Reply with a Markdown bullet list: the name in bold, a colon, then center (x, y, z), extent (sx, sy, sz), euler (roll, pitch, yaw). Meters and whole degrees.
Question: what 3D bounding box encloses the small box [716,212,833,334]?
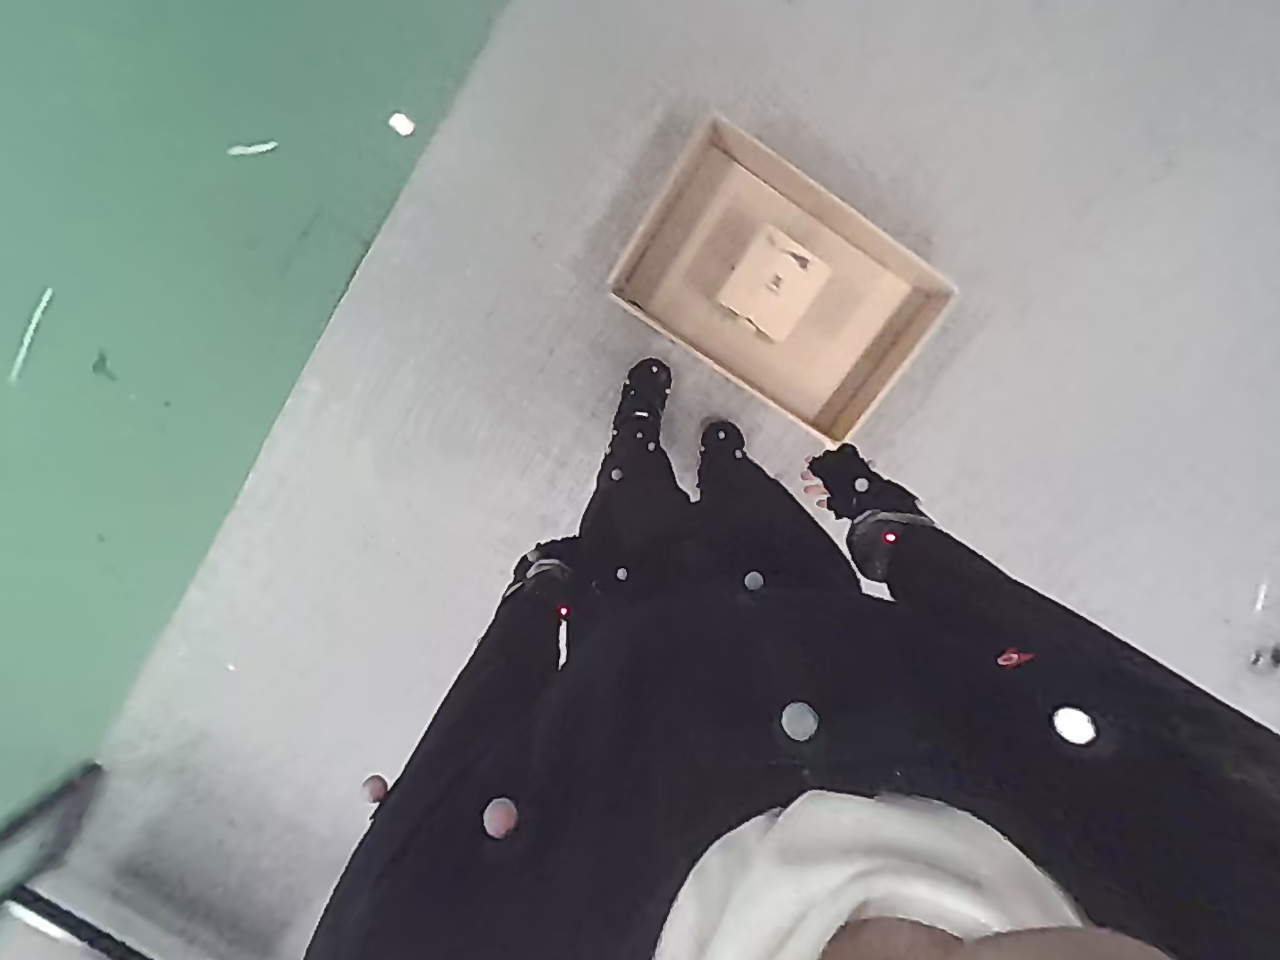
- **small box**: center (0.279, -0.433, 1.160), extent (0.168, 0.176, 0.179), euler (35, 106, -5)
